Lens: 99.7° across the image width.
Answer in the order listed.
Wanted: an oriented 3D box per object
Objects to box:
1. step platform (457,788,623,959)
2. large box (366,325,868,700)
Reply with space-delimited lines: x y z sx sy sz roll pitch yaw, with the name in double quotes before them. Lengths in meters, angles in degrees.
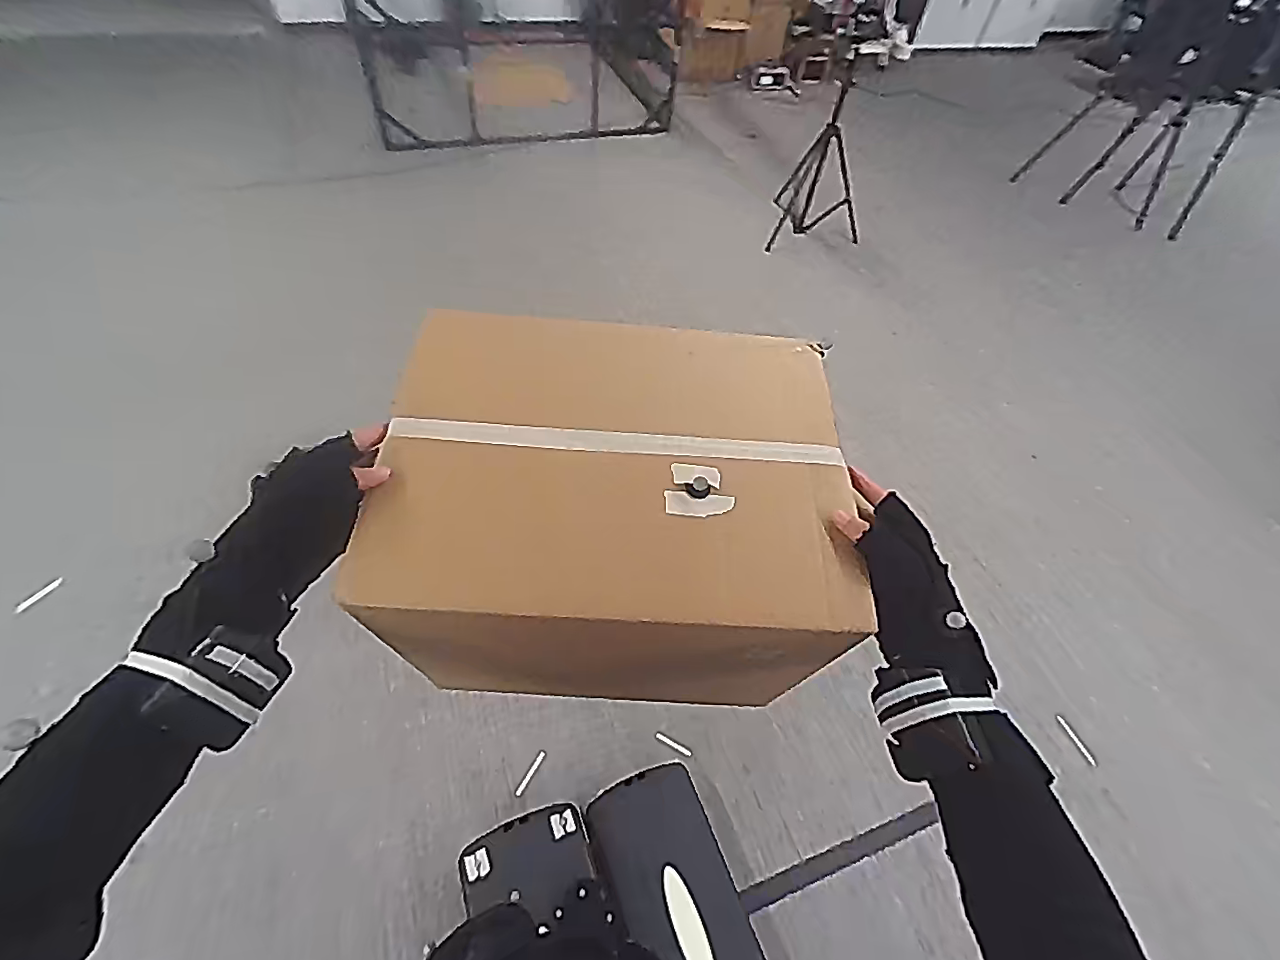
"step platform" -0.181 1.054 1.152 0.286 0.204 0.684 -16 55 -17
"large box" -0.023 0.057 0.625 0.408 0.320 0.320 5 58 -3
